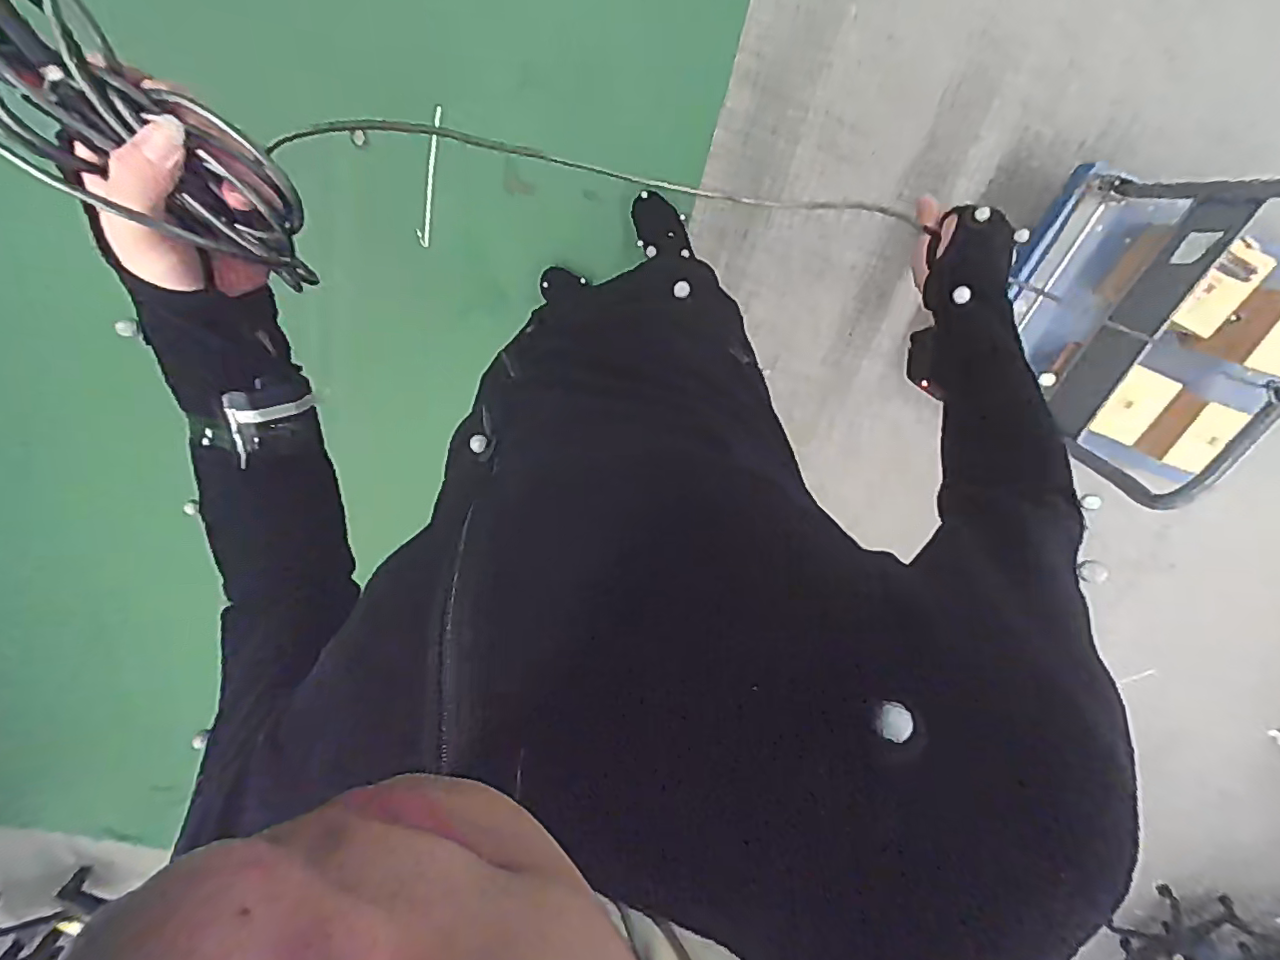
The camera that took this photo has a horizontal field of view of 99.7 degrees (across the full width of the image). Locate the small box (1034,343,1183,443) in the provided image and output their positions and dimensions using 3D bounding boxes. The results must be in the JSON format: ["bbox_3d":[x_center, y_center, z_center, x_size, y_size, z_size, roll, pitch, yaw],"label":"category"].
[{"bbox_3d":[1.130,-0.218,1.320,0.179,0.176,0.168,19,116,-8],"label":"small box"}]

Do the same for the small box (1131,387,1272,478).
[{"bbox_3d":[1.378,-0.131,1.360,0.179,0.176,0.168,16,116,-7],"label":"small box"}]

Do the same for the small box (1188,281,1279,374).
[{"bbox_3d":[1.452,-0.349,1.246,0.179,0.176,0.168,14,118,-7],"label":"small box"}]
